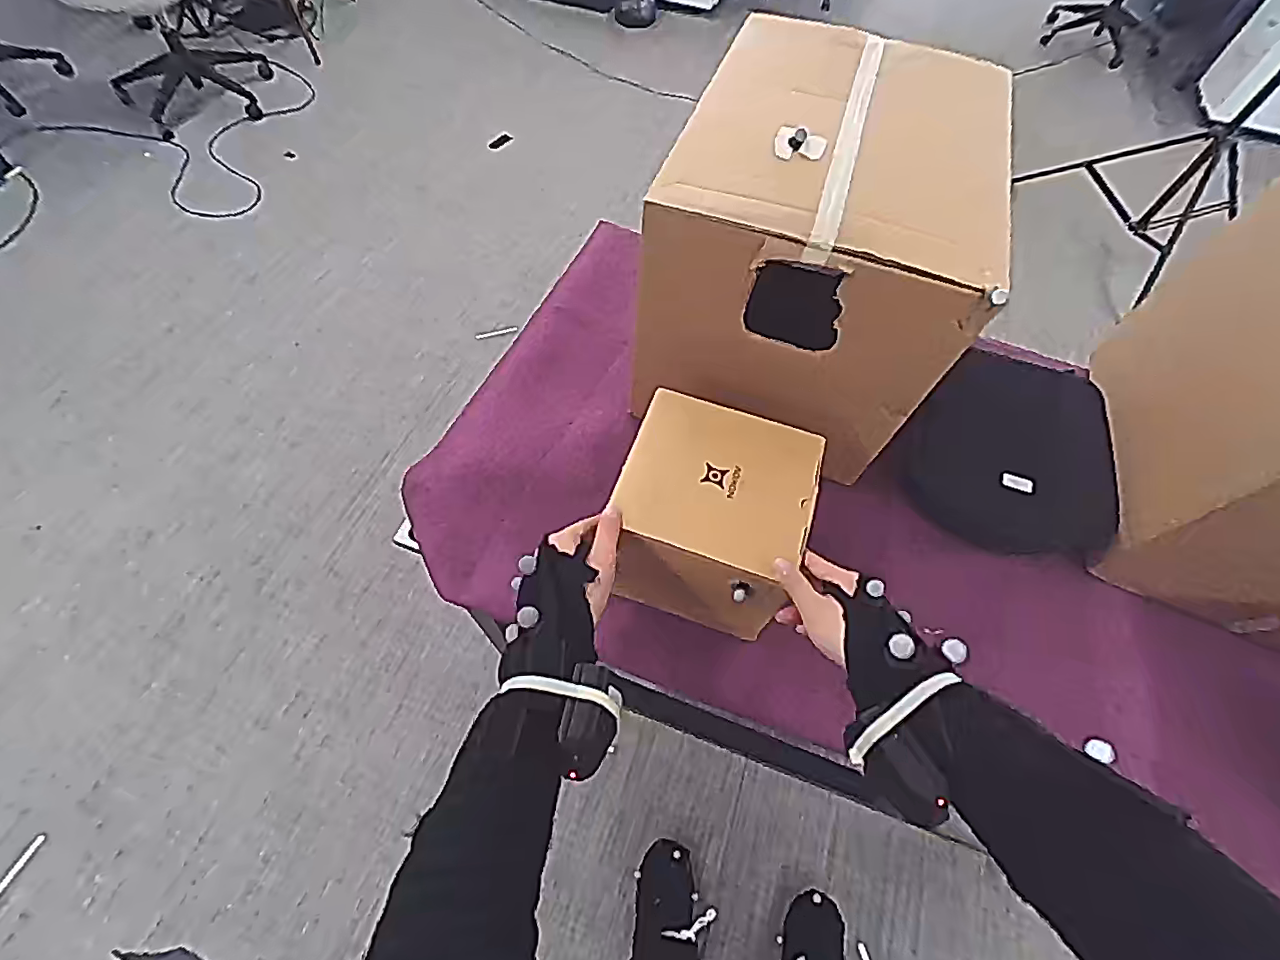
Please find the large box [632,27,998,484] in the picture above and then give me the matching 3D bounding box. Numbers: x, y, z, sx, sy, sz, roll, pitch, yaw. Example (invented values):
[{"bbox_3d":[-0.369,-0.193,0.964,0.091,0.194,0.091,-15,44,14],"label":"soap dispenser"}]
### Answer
[{"bbox_3d":[0.200,-0.269,0.679,0.320,0.320,0.408,17,62,7],"label":"large box"}]
